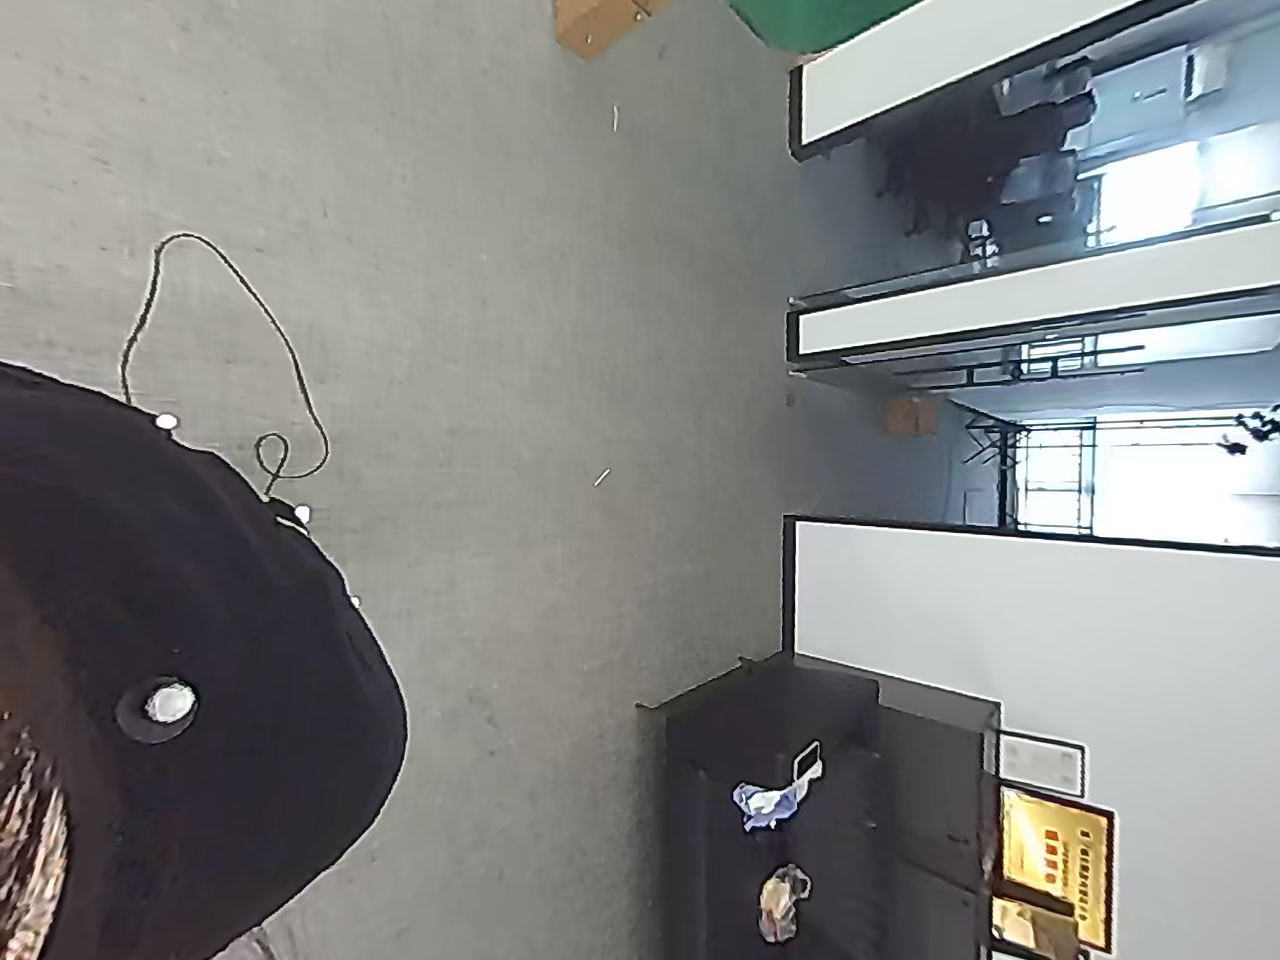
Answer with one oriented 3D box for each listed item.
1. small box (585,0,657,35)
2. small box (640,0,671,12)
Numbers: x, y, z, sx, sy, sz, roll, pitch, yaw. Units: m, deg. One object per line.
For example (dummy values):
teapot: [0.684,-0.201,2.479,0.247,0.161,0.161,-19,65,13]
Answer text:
small box: [-0.064,-1.629,1.788,0.179,0.176,0.168,-6,95,-46]
small box: [0.052,-1.617,1.672,0.168,0.176,0.179,-4,93,-46]
